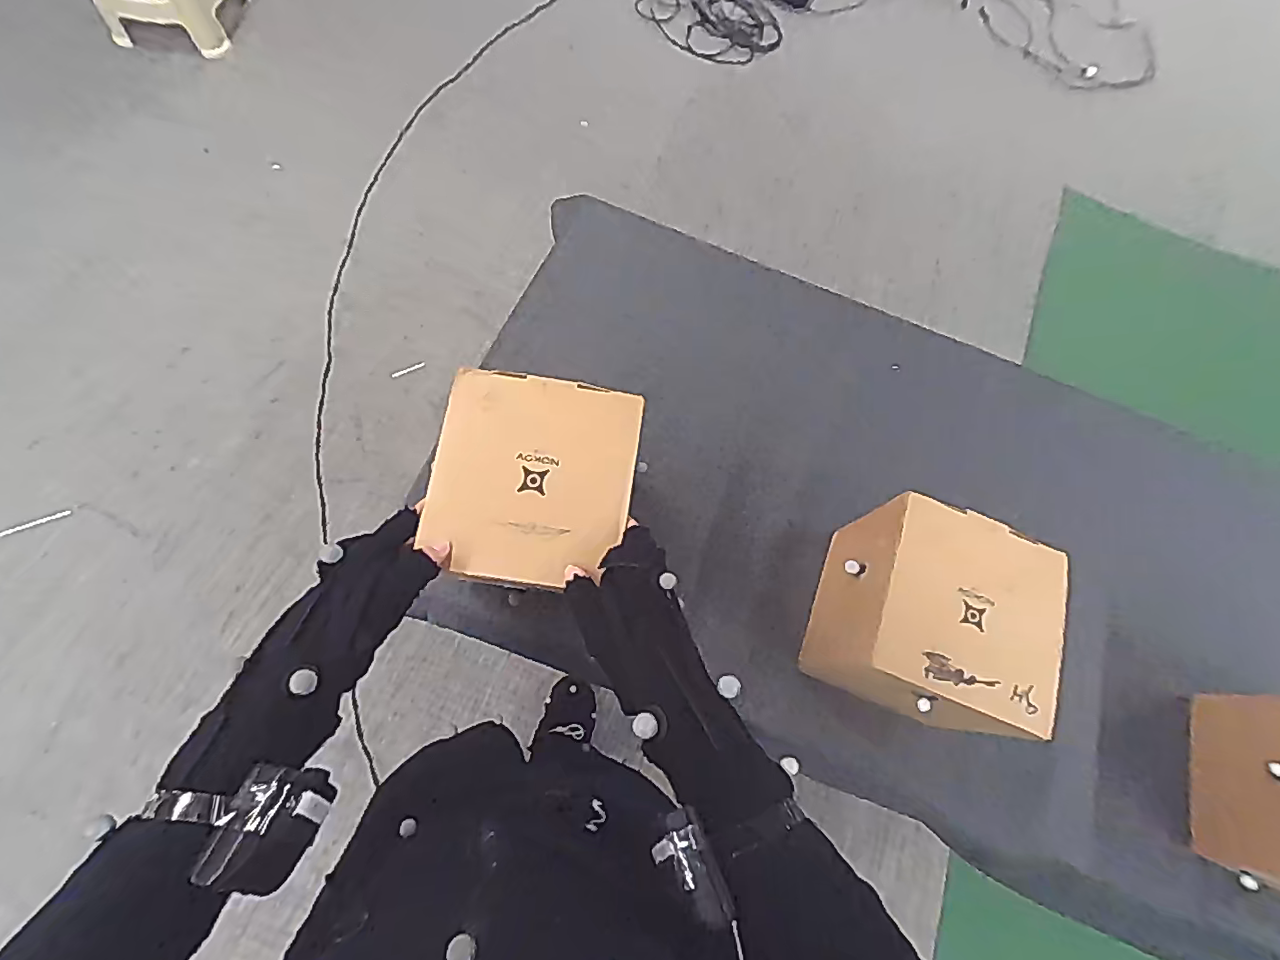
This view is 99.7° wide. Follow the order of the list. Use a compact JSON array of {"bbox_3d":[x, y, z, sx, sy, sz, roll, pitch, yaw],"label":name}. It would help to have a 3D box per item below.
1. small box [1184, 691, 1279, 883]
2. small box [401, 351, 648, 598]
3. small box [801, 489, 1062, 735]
[{"bbox_3d":[0.709,0.330,0.546,0.168,0.176,0.179,23,68,2],"label":"small box"},{"bbox_3d":[-0.094,0.008,0.509,0.168,0.176,0.179,11,75,-2],"label":"small box"},{"bbox_3d":[0.290,0.140,0.565,0.168,0.176,0.179,23,69,1],"label":"small box"}]
